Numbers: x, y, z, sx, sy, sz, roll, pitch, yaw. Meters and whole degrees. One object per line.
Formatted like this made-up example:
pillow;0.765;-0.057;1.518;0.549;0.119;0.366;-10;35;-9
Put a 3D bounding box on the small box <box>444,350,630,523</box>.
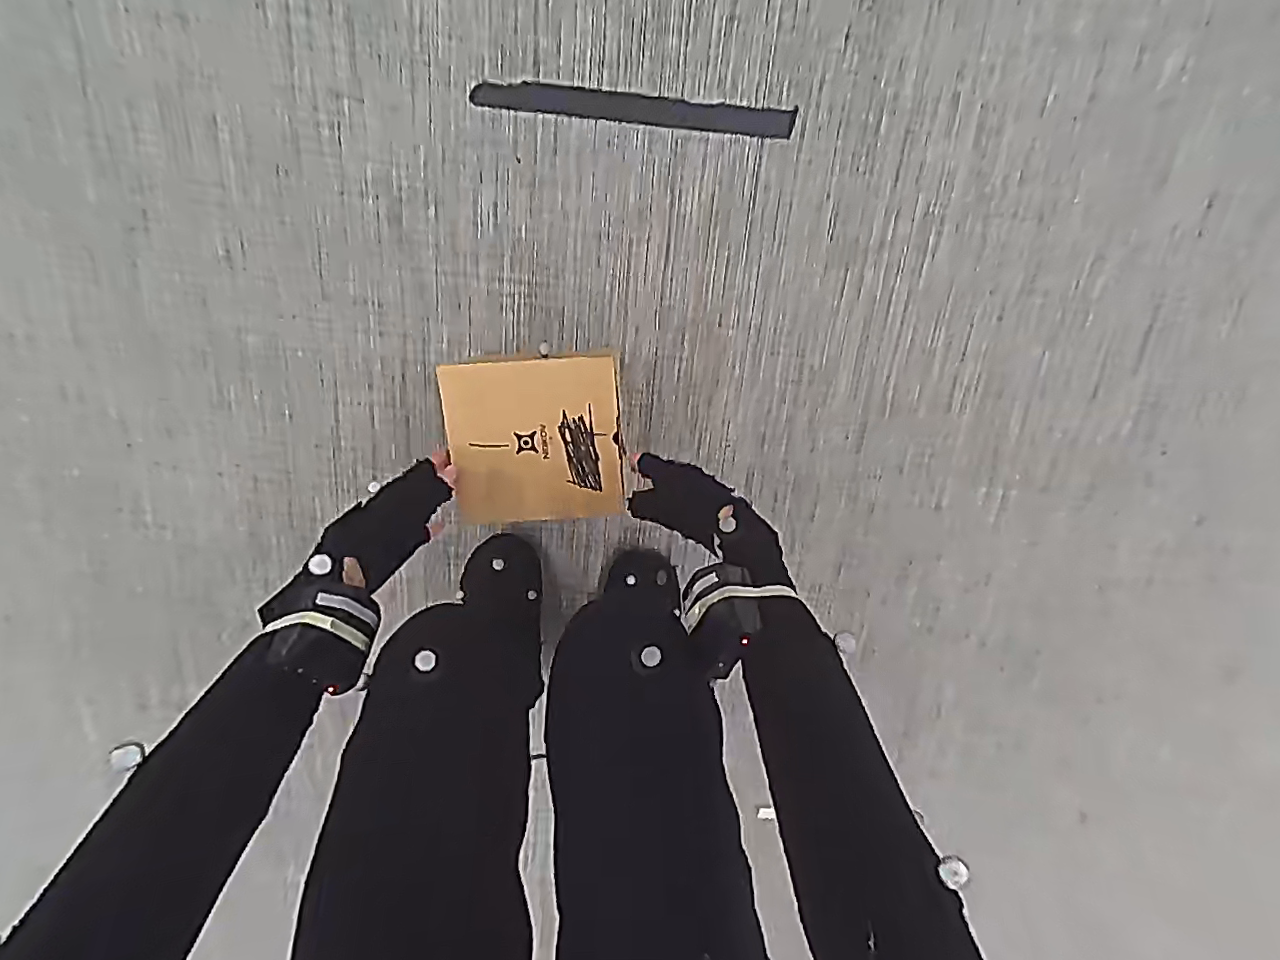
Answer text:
small box;-0.103;-0.059;0.620;0.179;0.176;0.168;-3;105;0
